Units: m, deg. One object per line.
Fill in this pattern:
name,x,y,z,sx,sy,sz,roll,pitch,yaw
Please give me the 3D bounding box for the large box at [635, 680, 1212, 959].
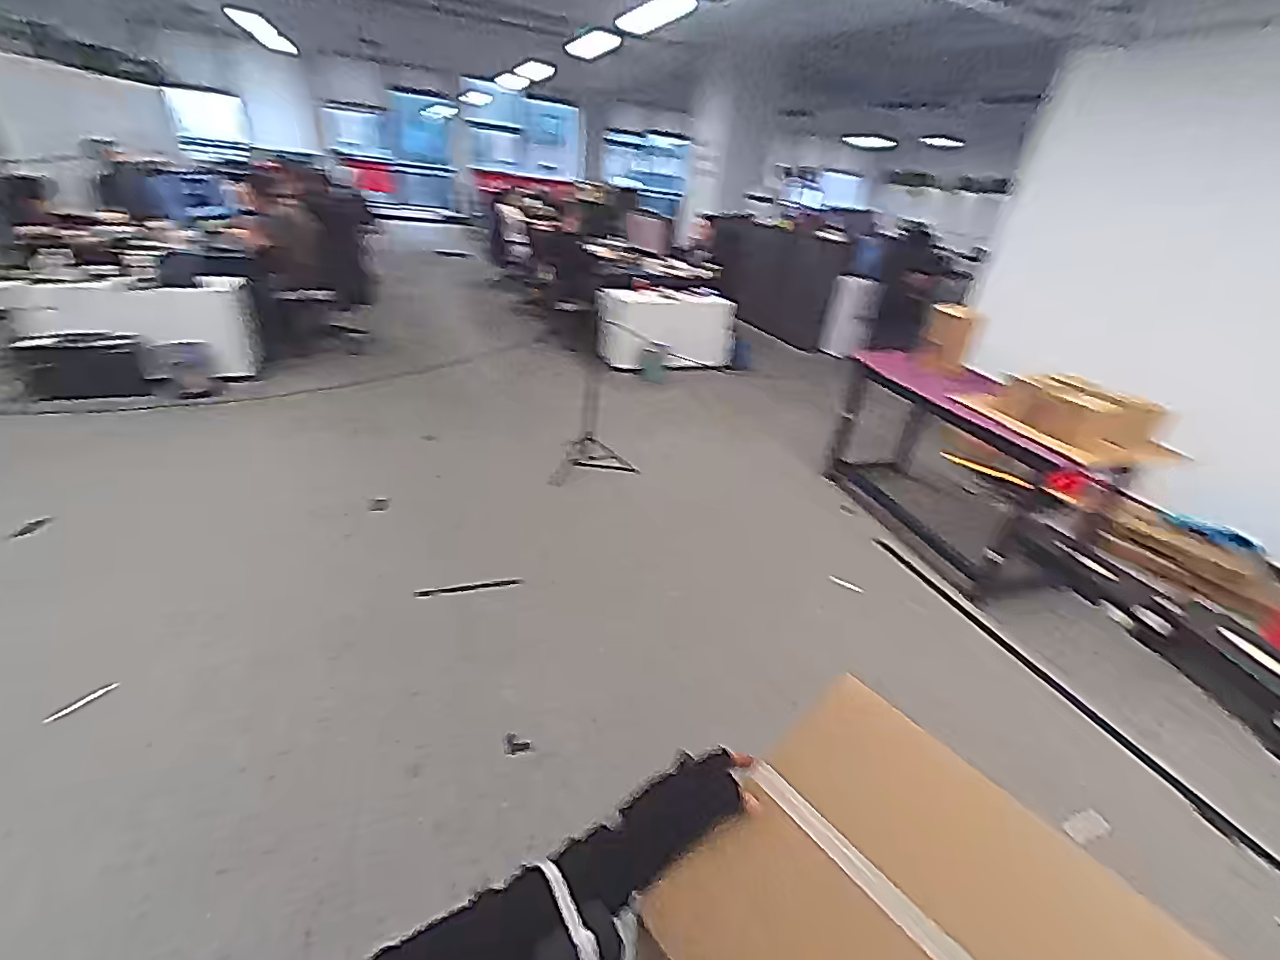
large box,0.239,0.488,0.504,0.320,0.320,0.408,-30,50,-33
